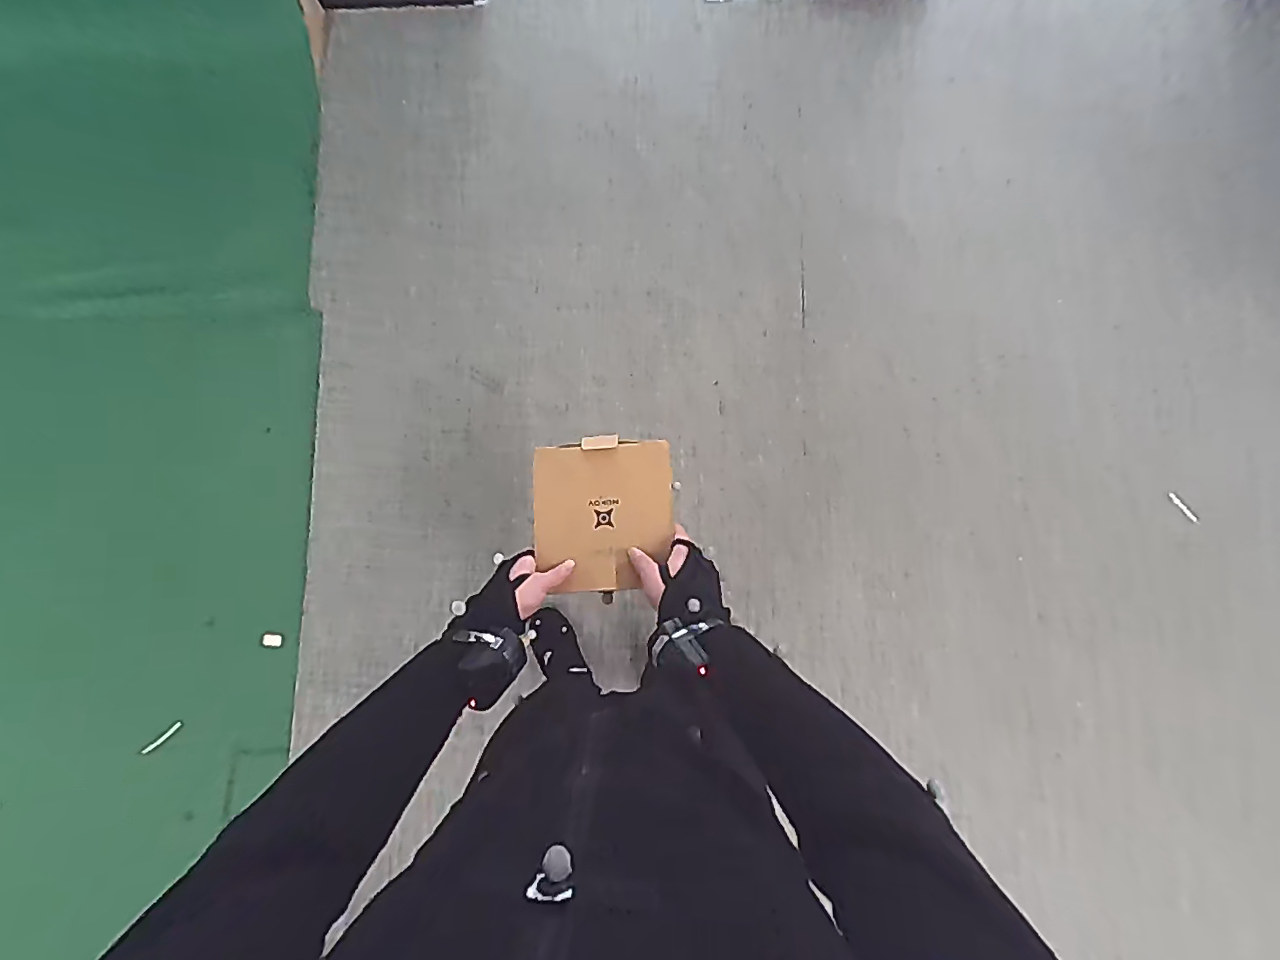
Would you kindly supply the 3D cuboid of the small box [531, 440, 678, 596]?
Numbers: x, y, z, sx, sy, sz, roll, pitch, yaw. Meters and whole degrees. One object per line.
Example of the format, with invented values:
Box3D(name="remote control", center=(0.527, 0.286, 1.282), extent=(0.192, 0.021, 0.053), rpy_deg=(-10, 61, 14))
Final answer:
Box3D(name="small box", center=(-0.038, 0.057, 0.693), extent=(0.168, 0.176, 0.179), rpy_deg=(-2, 79, 3))
